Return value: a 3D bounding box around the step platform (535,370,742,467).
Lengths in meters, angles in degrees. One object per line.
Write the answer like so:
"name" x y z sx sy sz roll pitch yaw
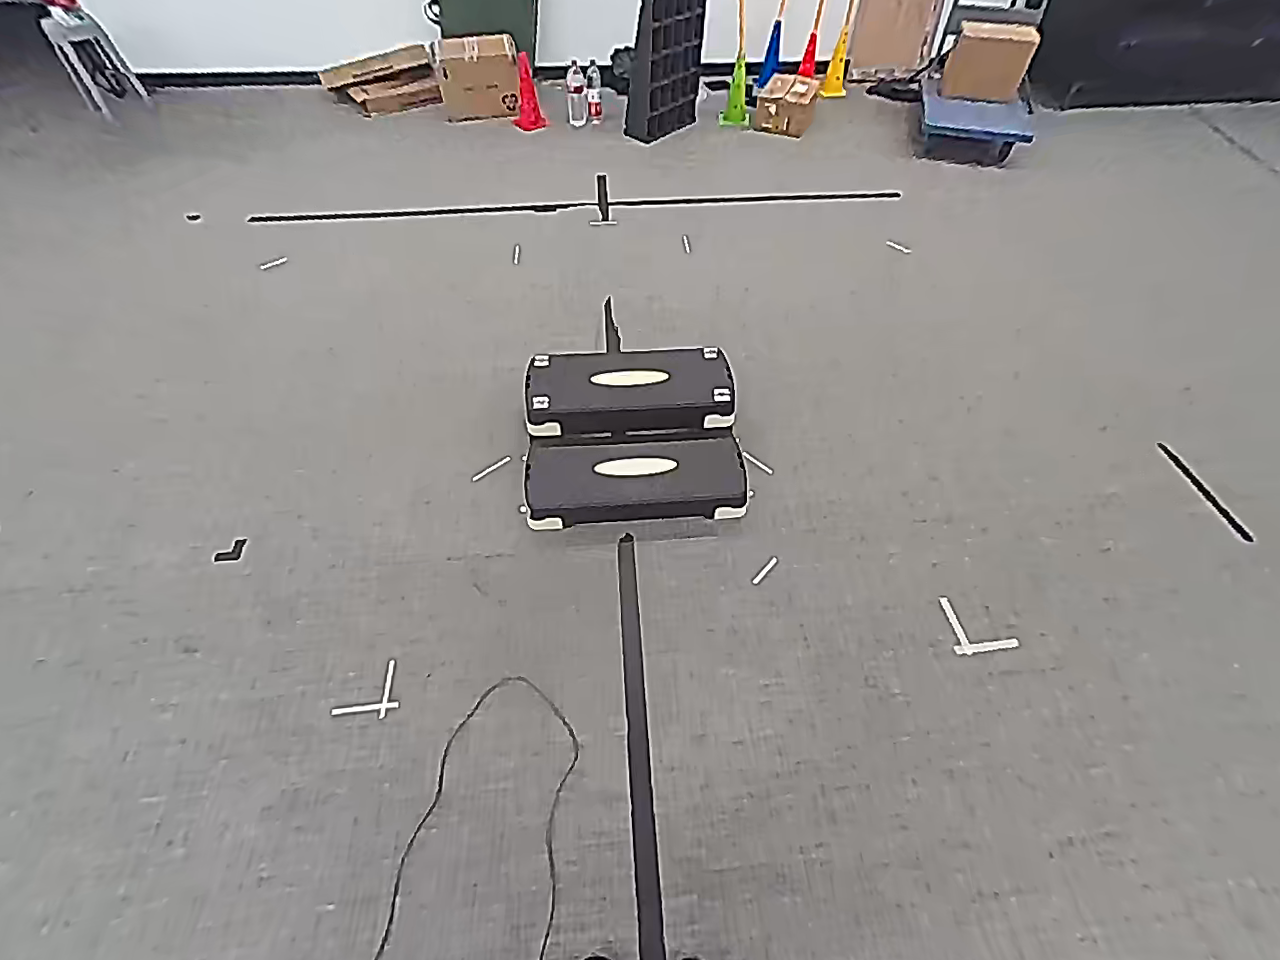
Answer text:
"step platform" -0.005 -0.213 1.813 0.684 0.204 0.286 0 51 -1
